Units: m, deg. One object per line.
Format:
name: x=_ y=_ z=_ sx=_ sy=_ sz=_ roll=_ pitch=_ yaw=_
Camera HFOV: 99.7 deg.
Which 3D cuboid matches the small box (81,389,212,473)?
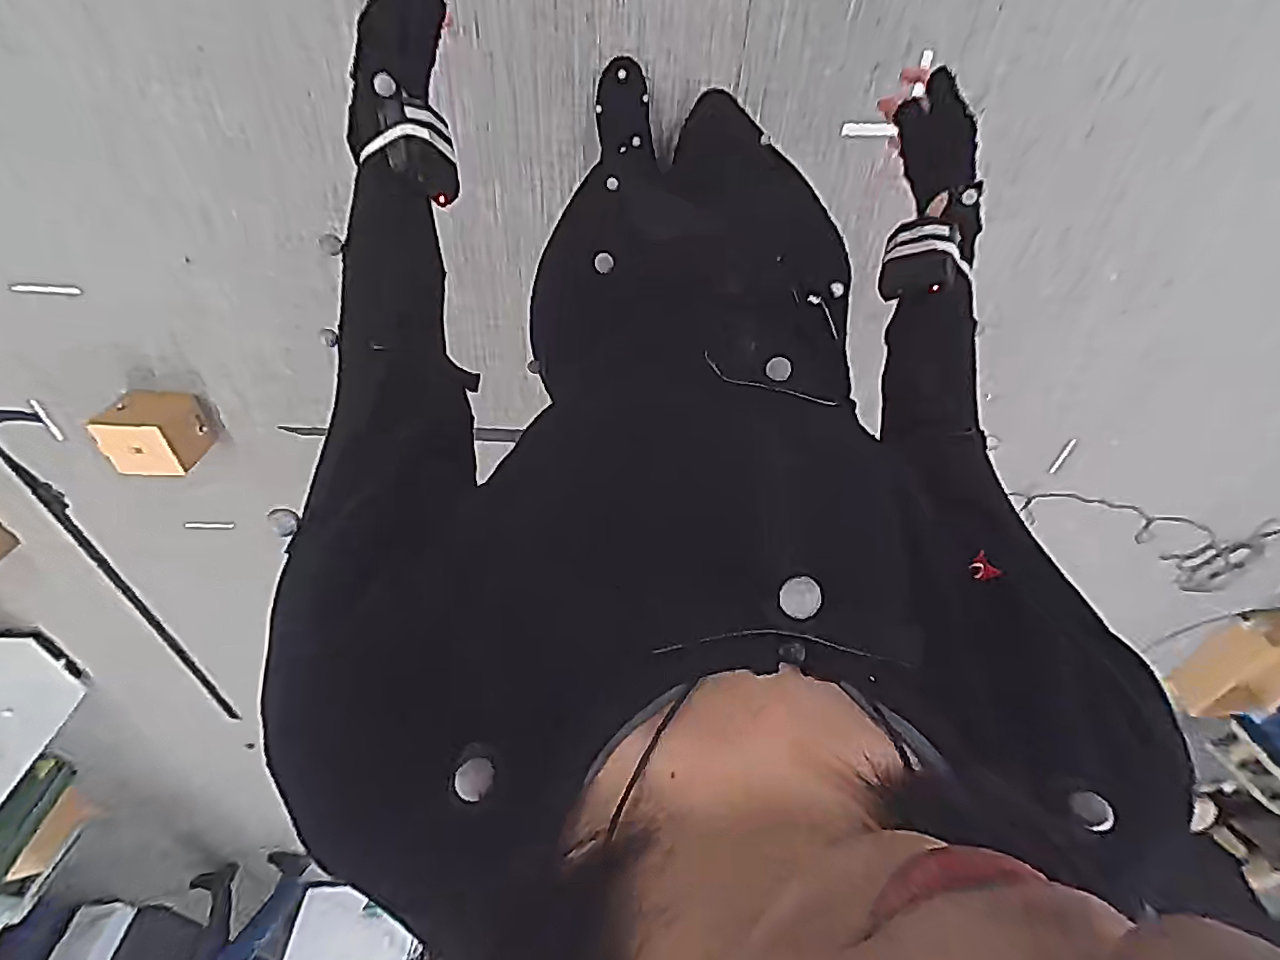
small box: x=-1.337 y=-0.137 z=1.481 sx=0.179 sy=0.176 sz=0.168 roll=1 pitch=130 yaw=-6
